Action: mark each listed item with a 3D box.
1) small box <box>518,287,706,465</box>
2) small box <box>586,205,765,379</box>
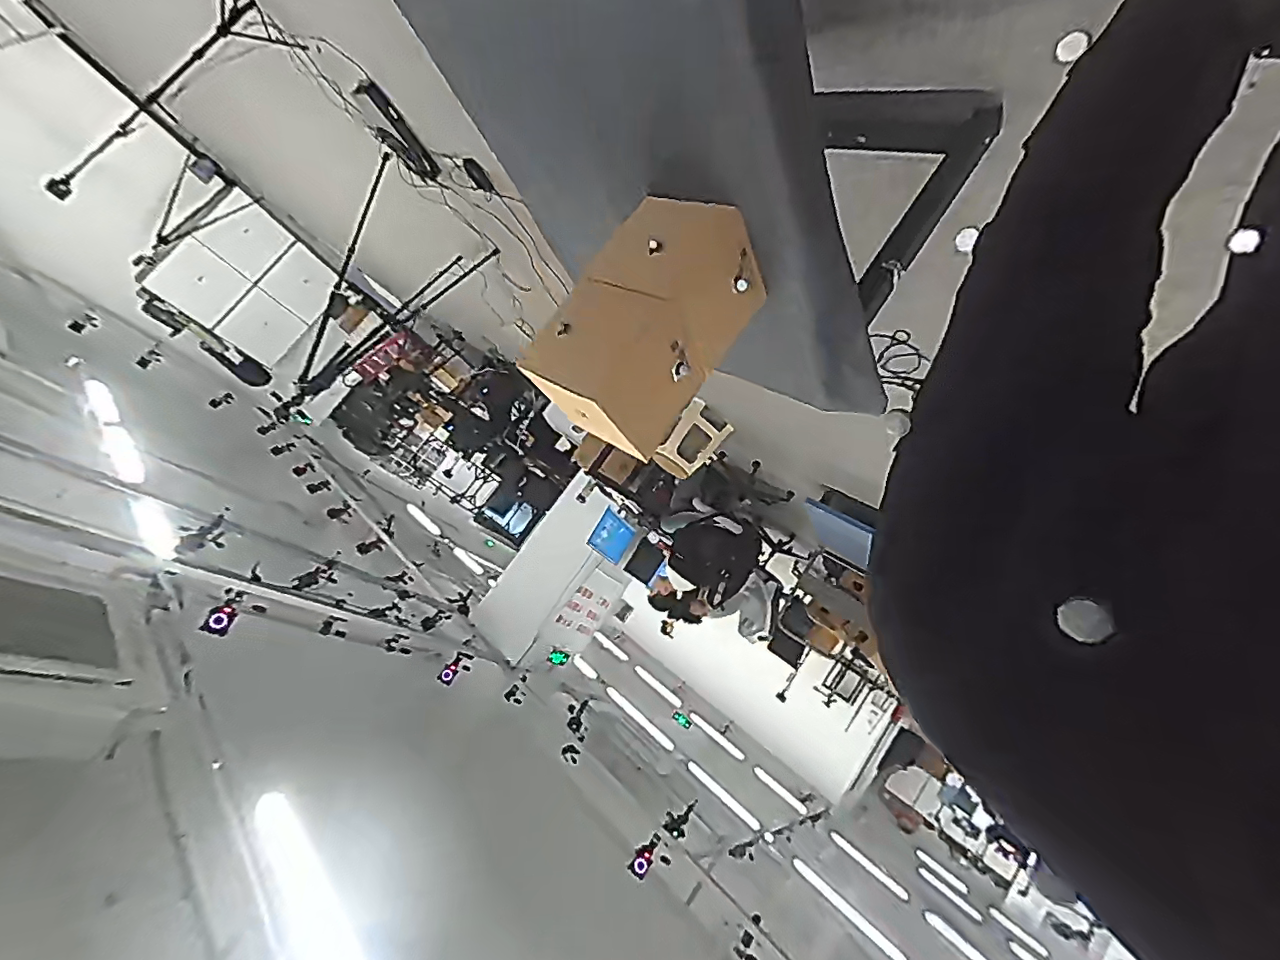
[{"bbox_3d":[-0.035,-0.156,0.790,0.179,0.176,0.168,28,169,37],"label":"small box"},{"bbox_3d":[0.058,-0.286,0.815,0.179,0.176,0.168,28,168,37],"label":"small box"}]
